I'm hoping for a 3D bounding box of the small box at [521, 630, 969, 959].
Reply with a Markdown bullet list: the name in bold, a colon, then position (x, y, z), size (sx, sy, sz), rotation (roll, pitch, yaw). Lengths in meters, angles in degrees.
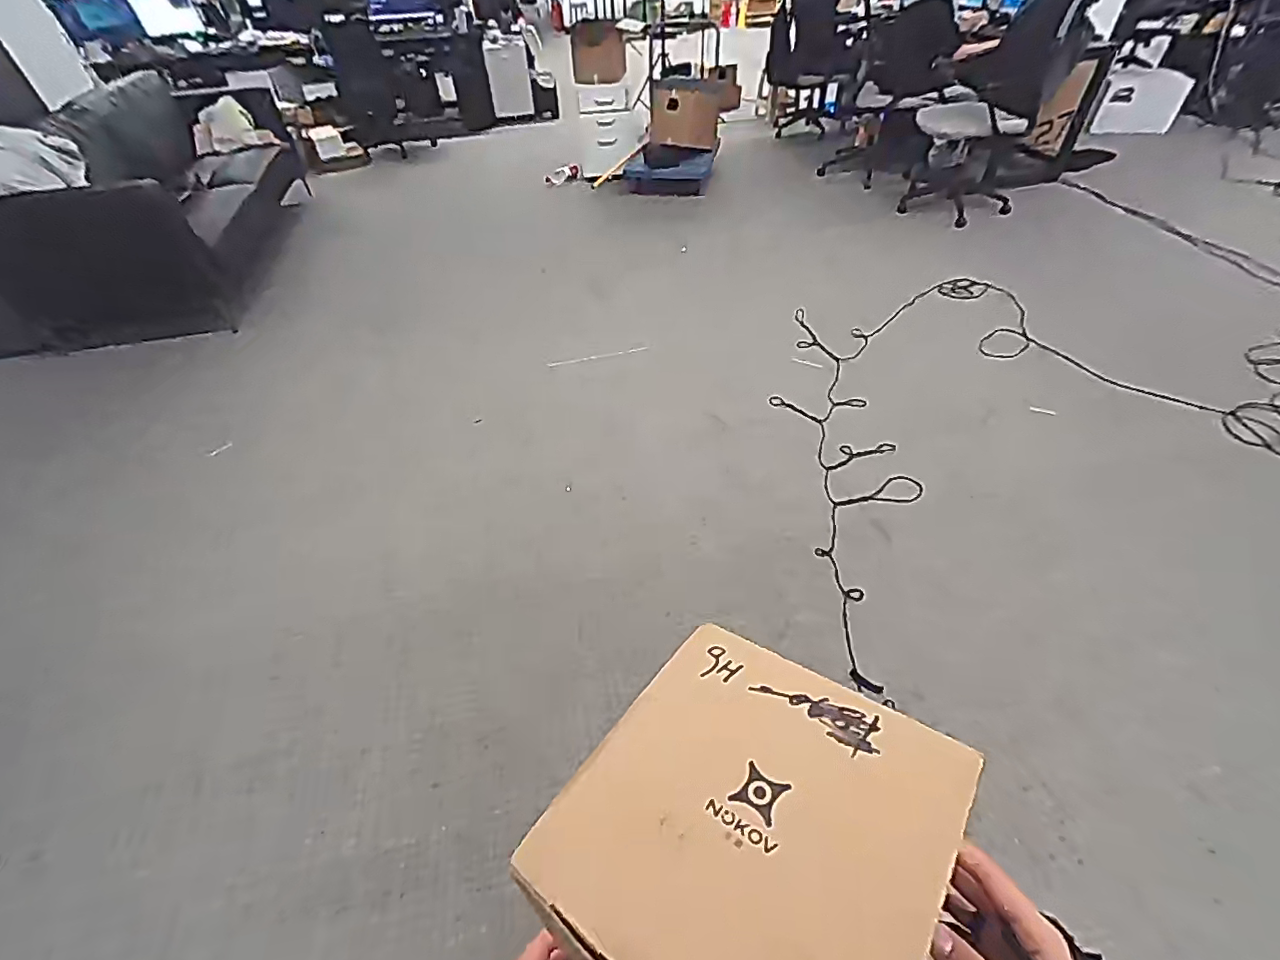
- **small box**: position (0.067, 0.231, 0.314), size (0.168, 0.176, 0.179), rotation (18, 42, 36)
